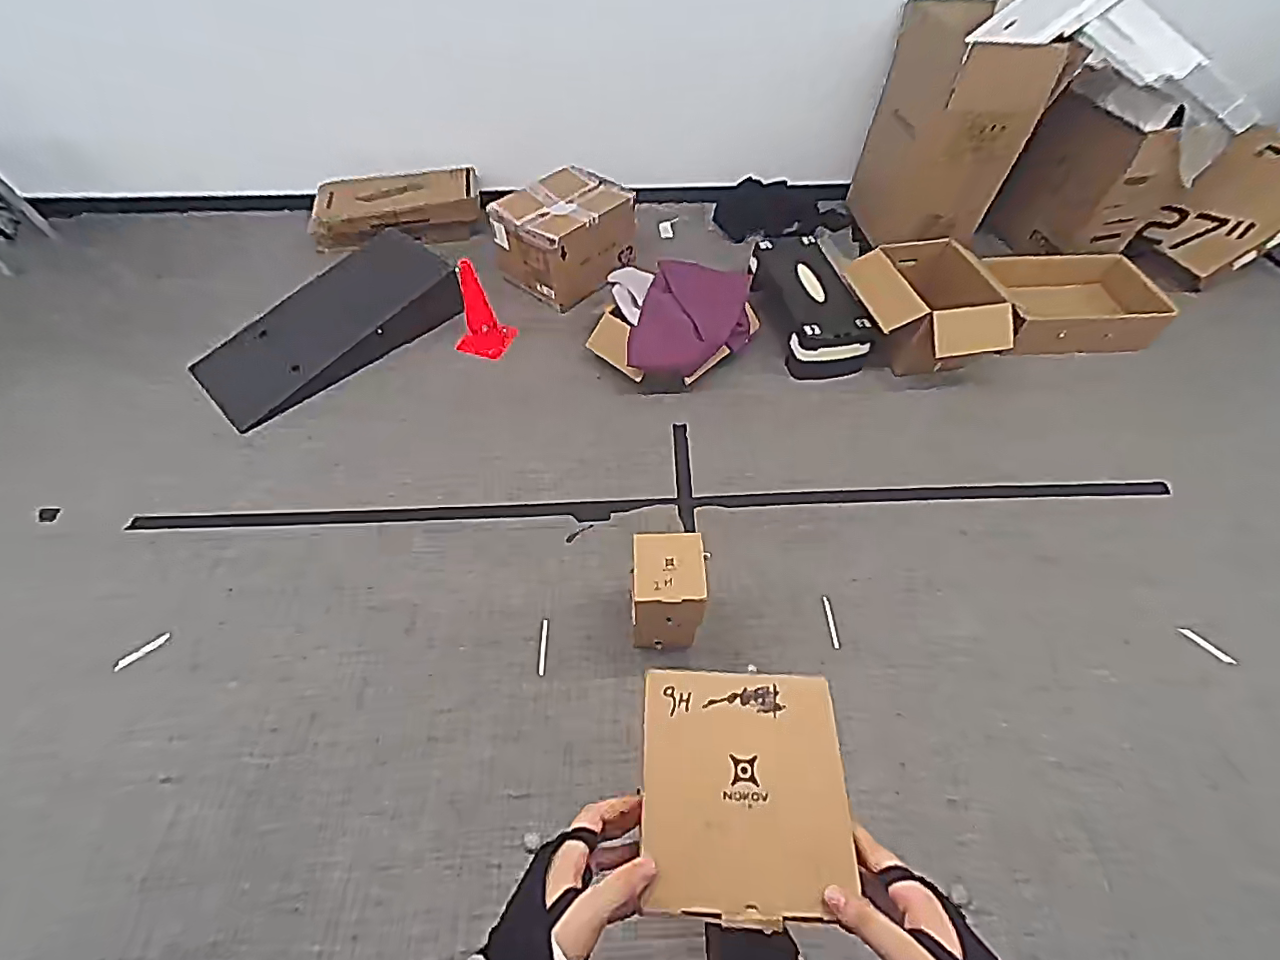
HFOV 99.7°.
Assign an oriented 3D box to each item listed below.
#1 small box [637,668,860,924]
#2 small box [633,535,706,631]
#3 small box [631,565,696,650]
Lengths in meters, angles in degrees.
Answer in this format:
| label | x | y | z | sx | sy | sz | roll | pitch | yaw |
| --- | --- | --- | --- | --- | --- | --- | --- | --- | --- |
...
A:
| label | x | y | z | sx | sy | sz | roll | pitch | yaw |
| --- | --- | --- | --- | --- | --- | --- | --- | --- | --- |
| small box | 0.083 | 0.289 | 0.505 | 0.168 | 0.176 | 0.179 | 2 | 56 | 0 |
| small box | 0.066 | 0.252 | 1.314 | 0.168 | 0.176 | 0.179 | -1 | 54 | 0 |
| small box | 0.059 | 0.342 | 1.453 | 0.168 | 0.176 | 0.179 | -2 | 55 | 0 |
